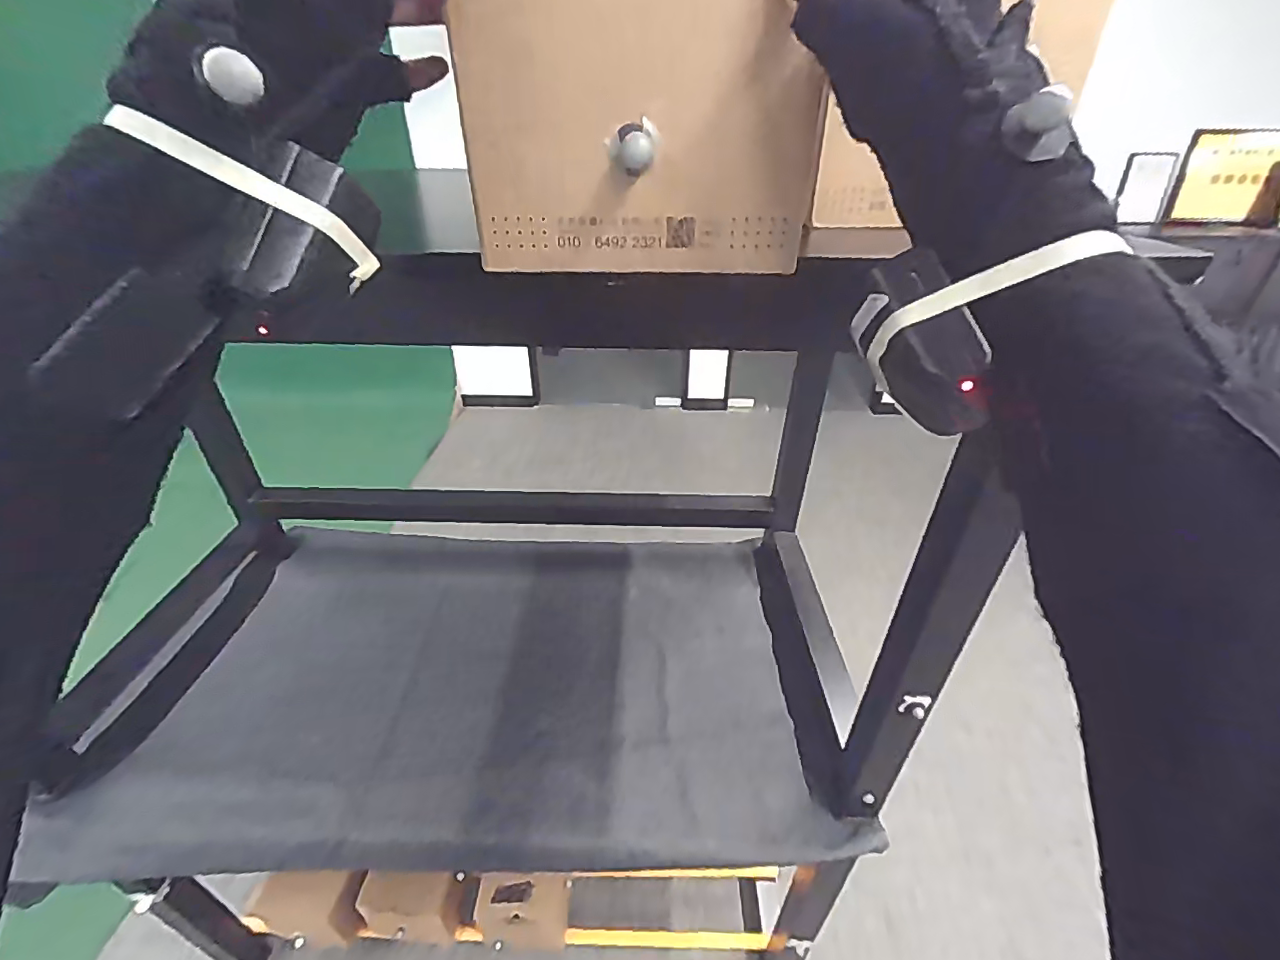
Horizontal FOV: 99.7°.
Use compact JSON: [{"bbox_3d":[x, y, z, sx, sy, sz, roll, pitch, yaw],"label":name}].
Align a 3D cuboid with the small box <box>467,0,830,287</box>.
[{"bbox_3d":[0.003,-0.223,0.323,0.168,0.176,0.179,1,33,2],"label":"small box"}]
